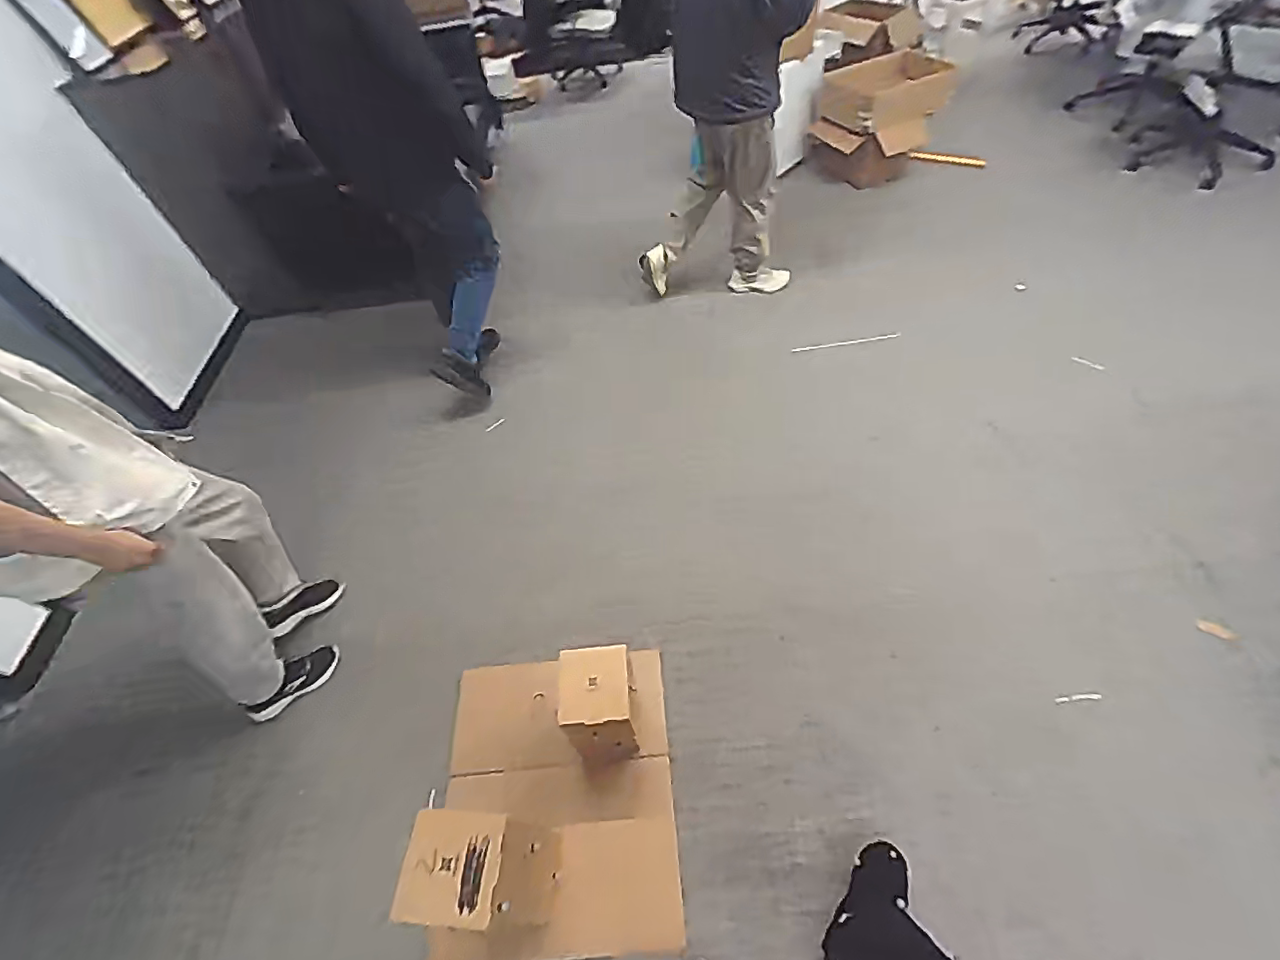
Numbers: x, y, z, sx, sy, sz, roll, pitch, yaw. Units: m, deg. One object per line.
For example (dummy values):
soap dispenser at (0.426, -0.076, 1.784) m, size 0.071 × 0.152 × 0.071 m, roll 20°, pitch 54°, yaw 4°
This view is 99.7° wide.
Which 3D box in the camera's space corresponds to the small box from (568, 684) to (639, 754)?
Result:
small box at (-0.093, 0.630, 1.457) m, size 0.168 × 0.176 × 0.179 m, roll -6°, pitch 53°, yaw 3°

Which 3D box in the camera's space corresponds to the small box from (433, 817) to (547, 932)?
small box at (-0.300, 0.820, 1.128) m, size 0.168 × 0.176 × 0.179 m, roll -1°, pitch 53°, yaw 8°

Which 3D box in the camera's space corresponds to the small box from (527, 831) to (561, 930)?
small box at (-0.289, 0.923, 1.257) m, size 0.168 × 0.176 × 0.179 m, roll 0°, pitch 53°, yaw 8°

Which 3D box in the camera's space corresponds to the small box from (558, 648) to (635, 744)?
small box at (-0.103, 0.533, 1.329) m, size 0.168 × 0.176 × 0.179 m, roll -6°, pitch 54°, yaw 2°
